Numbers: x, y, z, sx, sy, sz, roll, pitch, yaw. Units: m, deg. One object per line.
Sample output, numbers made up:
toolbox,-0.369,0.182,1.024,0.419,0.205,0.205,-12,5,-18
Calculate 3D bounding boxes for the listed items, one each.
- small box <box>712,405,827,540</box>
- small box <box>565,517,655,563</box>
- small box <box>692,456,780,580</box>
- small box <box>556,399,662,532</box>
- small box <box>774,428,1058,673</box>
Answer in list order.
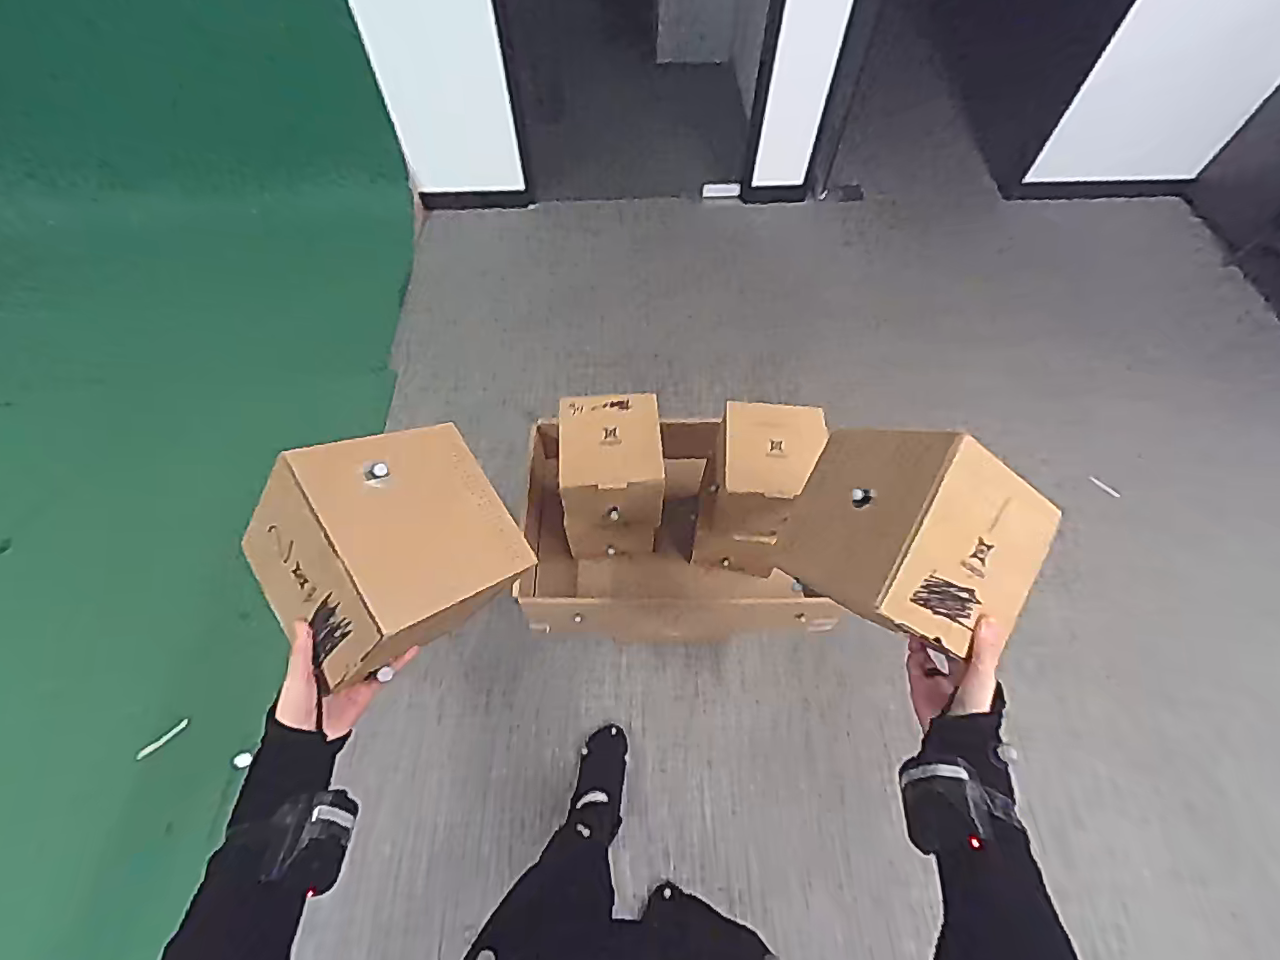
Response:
small box,0.217,-0.004,0.930,0.168,0.176,0.179,5,60,2
small box,-0.060,0.051,1.083,0.168,0.176,0.179,-4,61,-2
small box,0.198,0.079,1.070,0.168,0.176,0.179,9,61,5
small box,-0.050,-0.018,0.934,0.168,0.176,0.179,-3,61,-2
small box,0.267,0.061,0.558,0.168,0.176,0.179,29,85,-20
